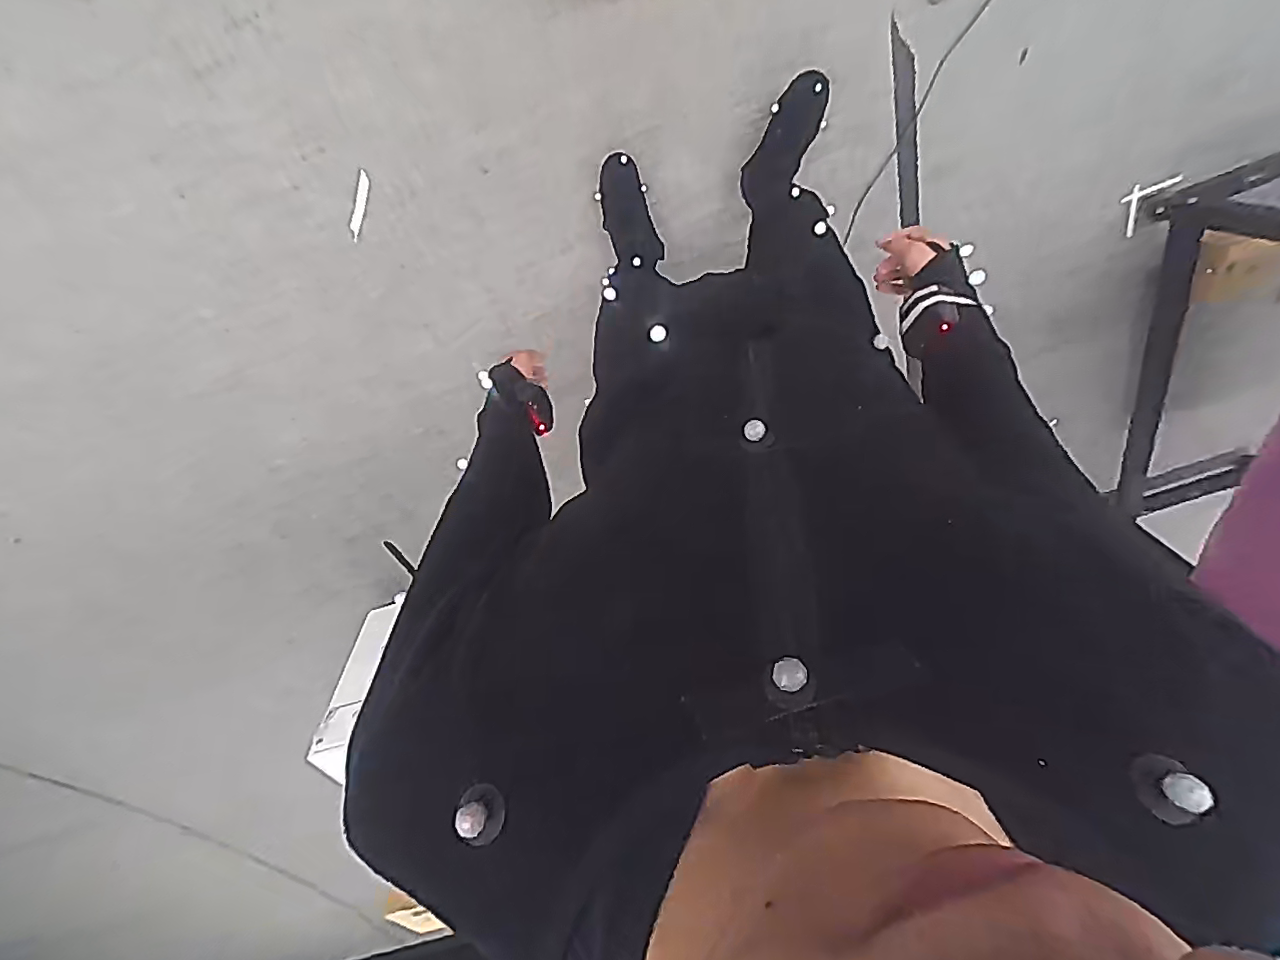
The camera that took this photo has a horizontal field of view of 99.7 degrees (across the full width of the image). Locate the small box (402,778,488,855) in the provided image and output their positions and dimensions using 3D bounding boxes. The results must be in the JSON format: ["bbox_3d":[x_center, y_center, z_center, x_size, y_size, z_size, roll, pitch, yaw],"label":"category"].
[{"bbox_3d":[-0.586,1.044,1.652,0.179,0.176,0.168,-17,125,6],"label":"small box"}]

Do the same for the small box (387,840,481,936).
[{"bbox_3d":[-0.570,1.142,1.521,0.168,0.176,0.179,-19,126,9],"label":"small box"}]
